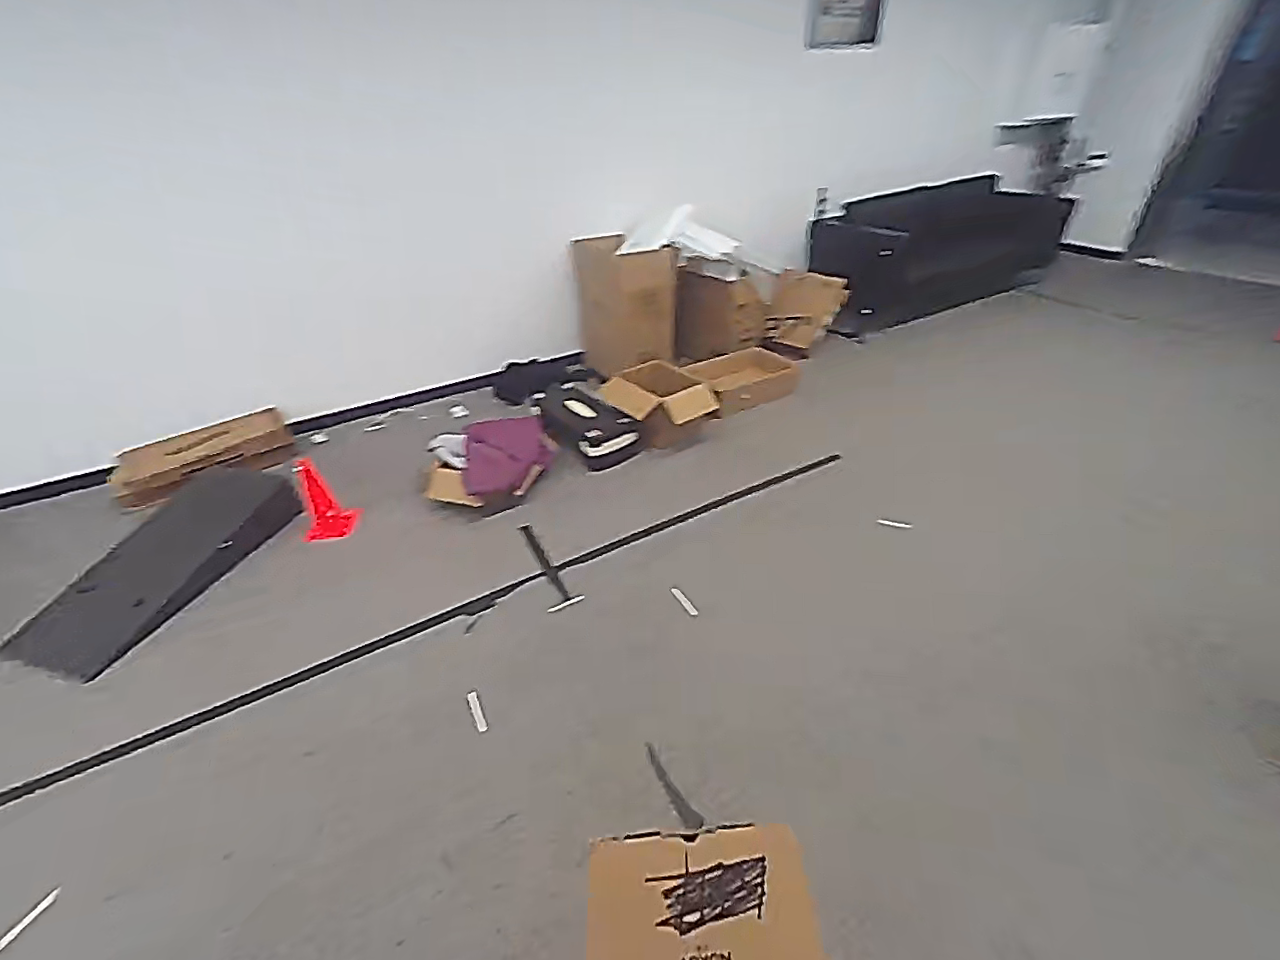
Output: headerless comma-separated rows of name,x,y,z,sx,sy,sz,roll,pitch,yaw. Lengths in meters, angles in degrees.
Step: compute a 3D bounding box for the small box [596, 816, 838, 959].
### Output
small box,0.050,0.384,0.413,0.168,0.176,0.179,-2,45,-4
